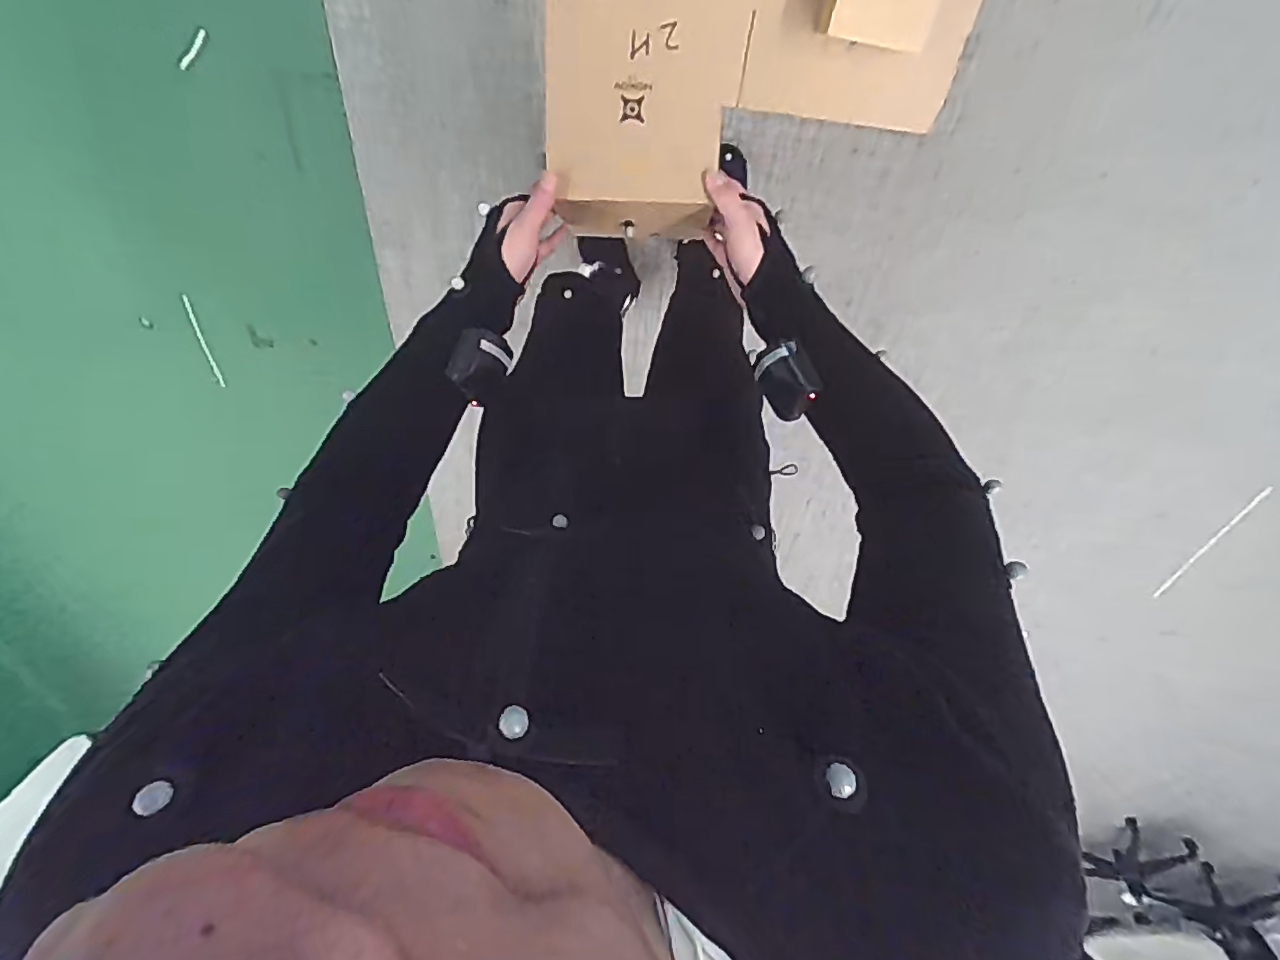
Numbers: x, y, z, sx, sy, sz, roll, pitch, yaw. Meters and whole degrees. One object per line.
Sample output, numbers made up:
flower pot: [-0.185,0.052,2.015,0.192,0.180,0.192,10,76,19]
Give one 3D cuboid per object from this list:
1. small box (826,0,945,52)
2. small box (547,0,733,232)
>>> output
small box: [0.423,-0.845,0.907,0.168,0.176,0.179,13,129,1]
small box: [0.000,-0.373,0.573,0.168,0.176,0.179,3,103,0]
